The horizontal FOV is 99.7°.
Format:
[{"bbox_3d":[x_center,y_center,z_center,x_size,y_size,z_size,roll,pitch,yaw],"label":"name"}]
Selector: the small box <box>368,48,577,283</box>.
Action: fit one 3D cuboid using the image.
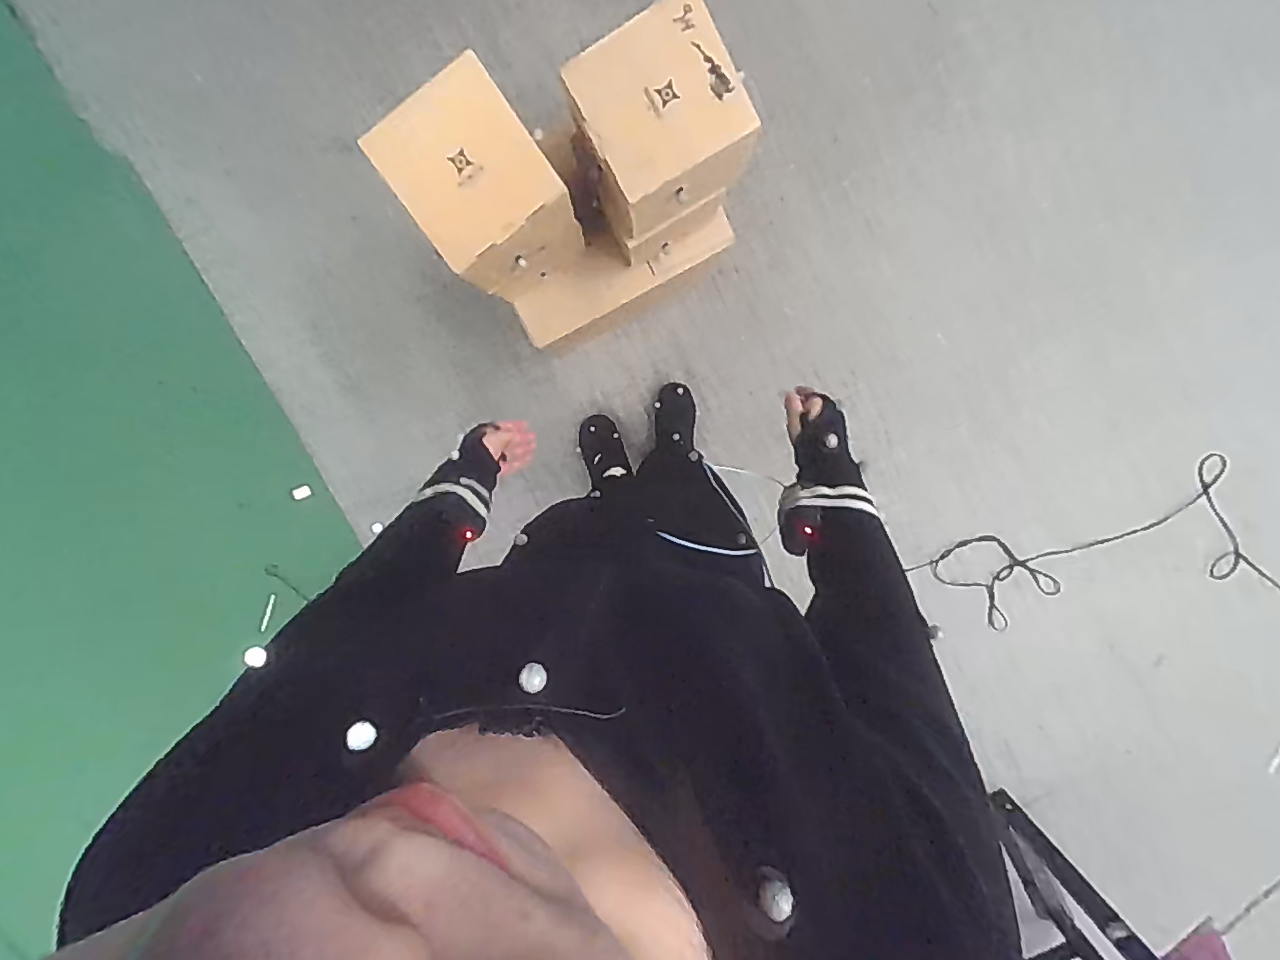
[{"bbox_3d":[-0.198,-0.381,0.696,0.168,0.176,0.179,-35,102,5],"label":"small box"}]
